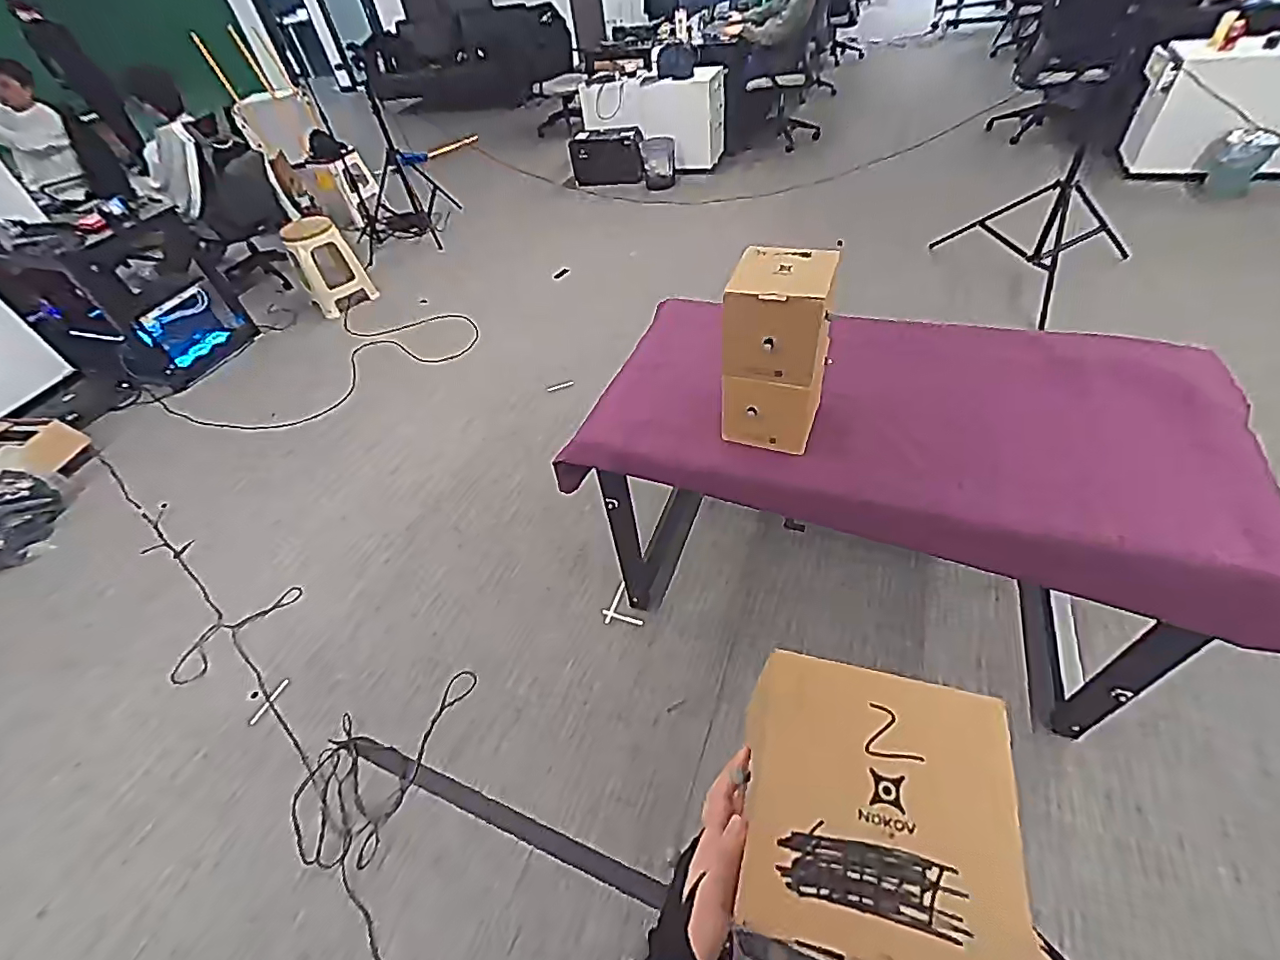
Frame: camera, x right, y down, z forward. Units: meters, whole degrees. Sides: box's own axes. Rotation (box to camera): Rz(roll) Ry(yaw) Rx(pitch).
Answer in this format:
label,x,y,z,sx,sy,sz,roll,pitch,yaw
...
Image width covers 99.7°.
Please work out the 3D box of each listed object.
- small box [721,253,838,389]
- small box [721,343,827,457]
label,x,y,z,sx,sy,sz,roll,pitch,yaw
small box,0.249,-0.286,0.975,0.168,0.176,0.179,12,50,19
small box,0.268,-0.169,1.090,0.168,0.176,0.179,13,49,20
